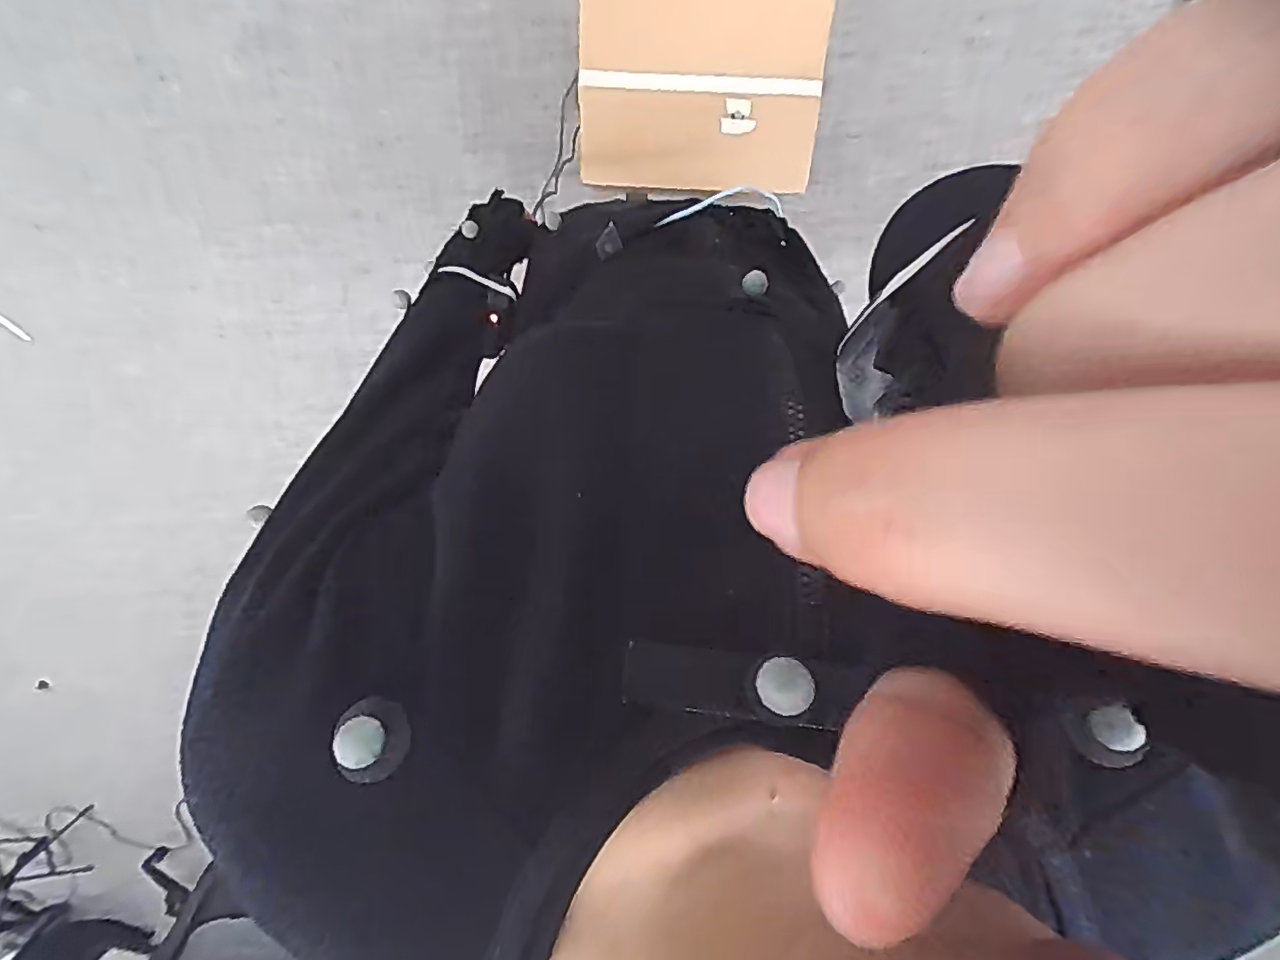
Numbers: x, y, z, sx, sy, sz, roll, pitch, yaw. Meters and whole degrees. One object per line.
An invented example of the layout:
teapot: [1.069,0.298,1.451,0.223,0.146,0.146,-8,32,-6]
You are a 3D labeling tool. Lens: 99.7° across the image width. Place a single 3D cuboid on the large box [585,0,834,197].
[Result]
large box: [0.104,-0.731,1.043,0.408,0.320,0.320,2,117,-2]
